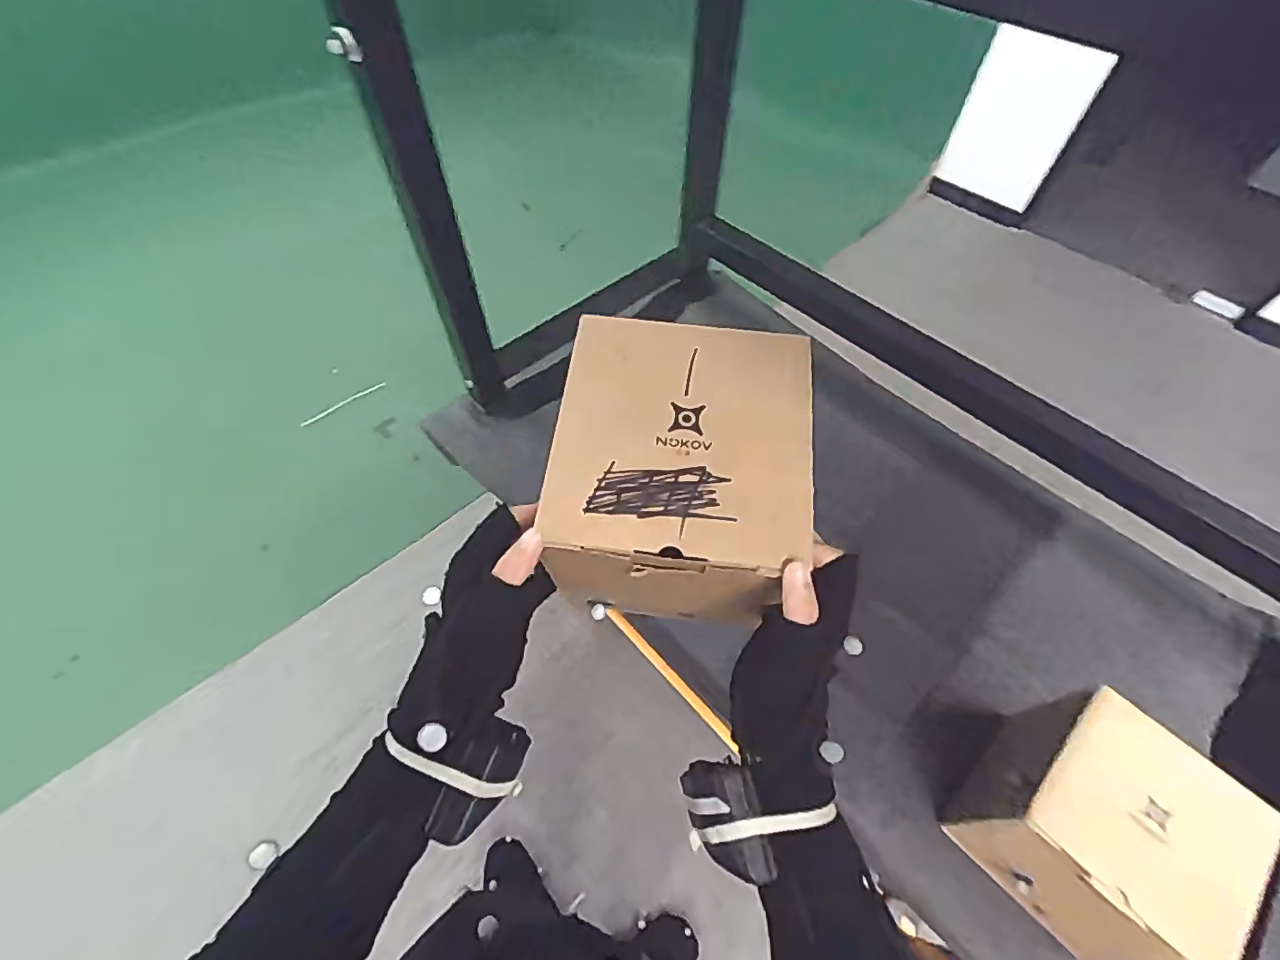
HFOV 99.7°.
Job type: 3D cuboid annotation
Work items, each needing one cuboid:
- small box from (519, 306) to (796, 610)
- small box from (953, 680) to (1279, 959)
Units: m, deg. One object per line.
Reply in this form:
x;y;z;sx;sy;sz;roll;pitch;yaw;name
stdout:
0.019;-0.005;0.422;0.168;0.176;0.179;6;65;3;small box
0.460;0.342;0.547;0.179;0.176;0.168;-38;64;-23;small box
